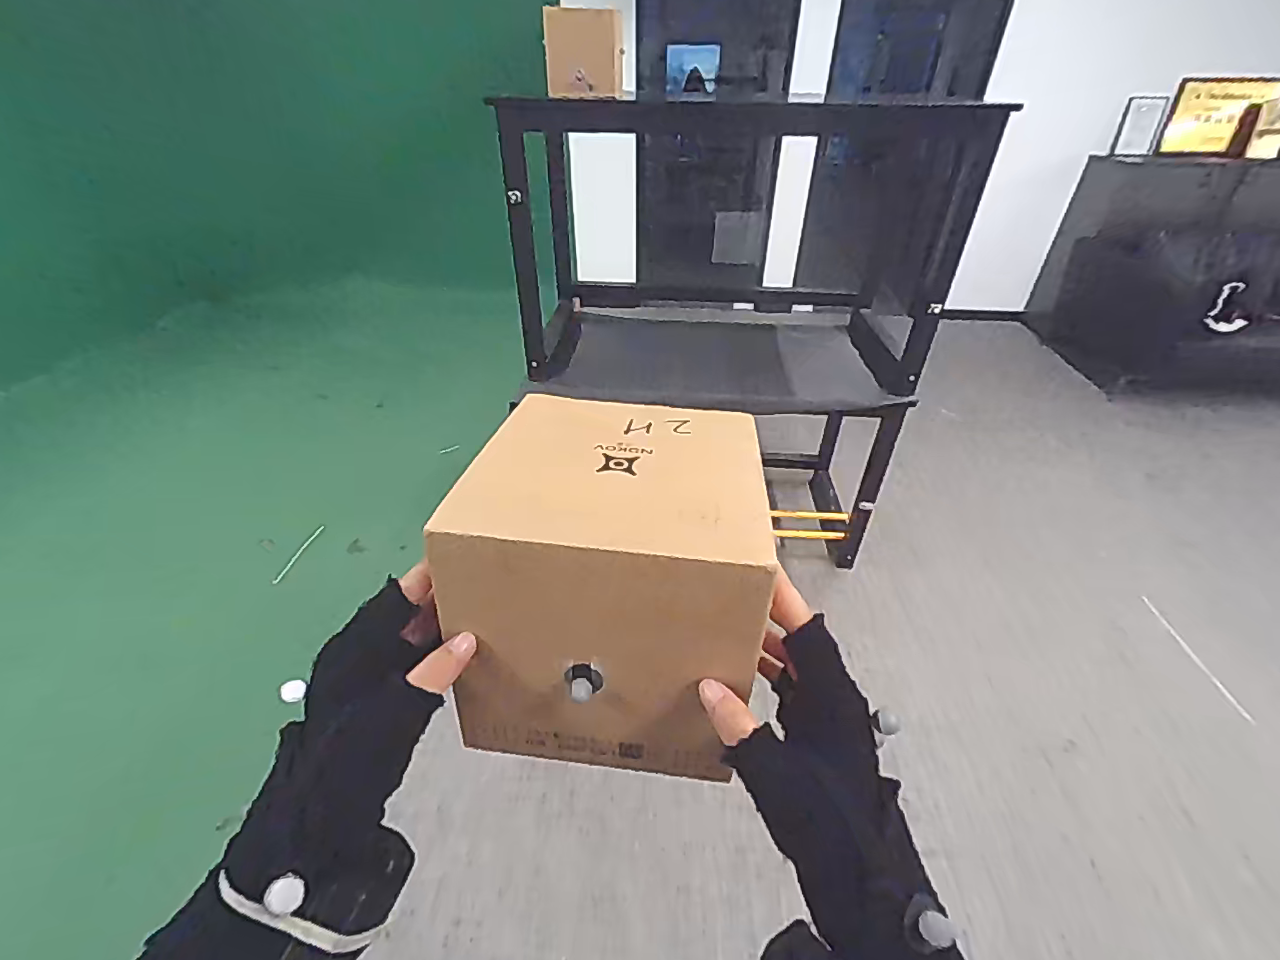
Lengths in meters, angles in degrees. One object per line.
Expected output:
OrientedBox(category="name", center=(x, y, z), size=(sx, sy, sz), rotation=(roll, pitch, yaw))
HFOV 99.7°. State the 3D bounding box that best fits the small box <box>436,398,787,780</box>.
OrientedBox(category="small box", center=(-0.008, 0.062, 0.354), size=(0.168, 0.176, 0.179), rotation=(6, 30, 4))
